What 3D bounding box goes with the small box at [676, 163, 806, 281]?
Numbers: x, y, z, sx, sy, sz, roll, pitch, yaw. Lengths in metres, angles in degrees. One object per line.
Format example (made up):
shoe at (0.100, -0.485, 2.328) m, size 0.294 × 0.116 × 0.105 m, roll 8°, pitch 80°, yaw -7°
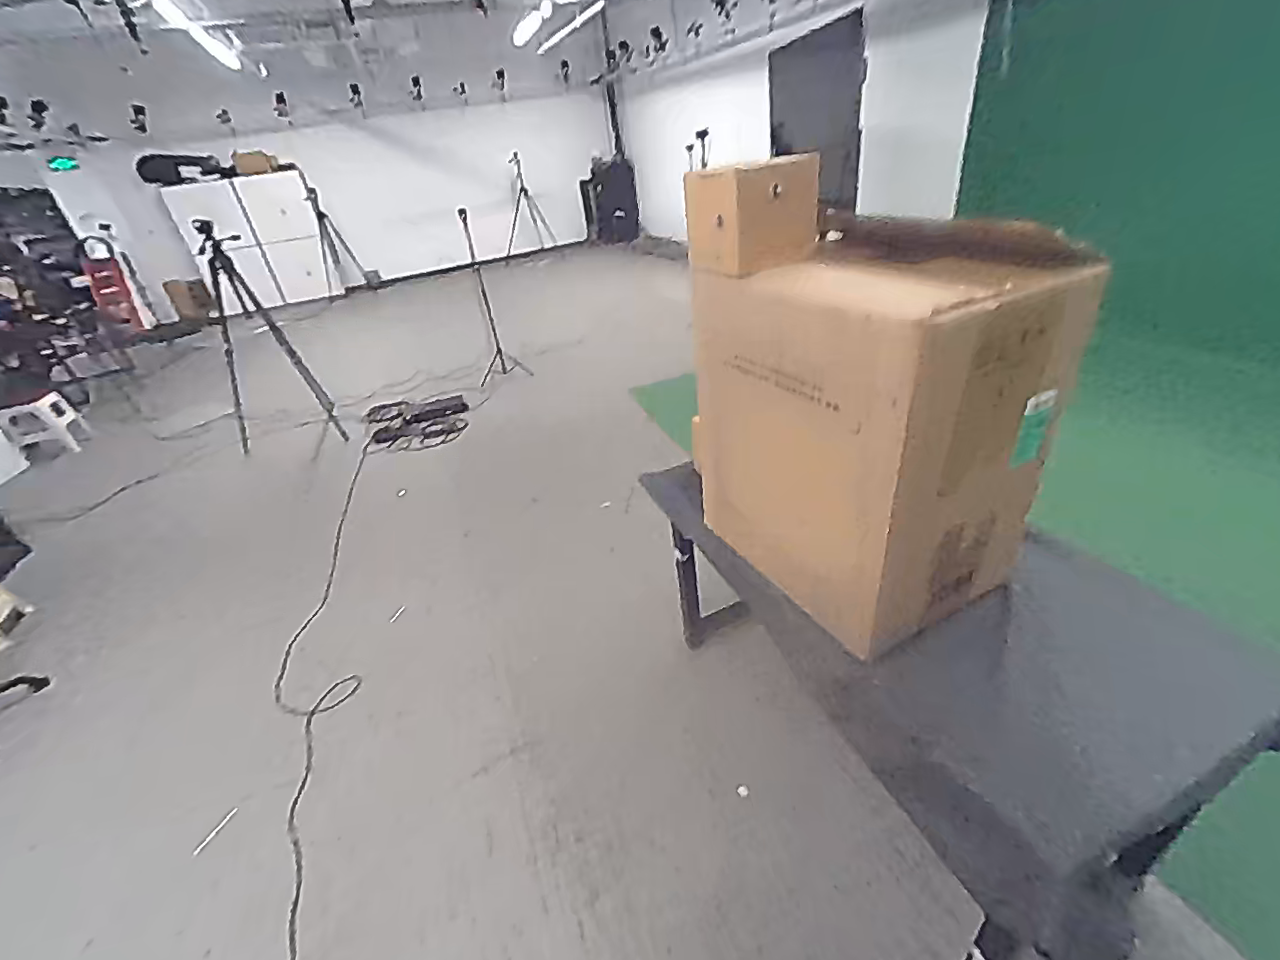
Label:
small box at (0.188, -0.476, 1.004) m, size 0.179 × 0.176 × 0.168 m, roll -20°, pitch 33°, yaw -19°
